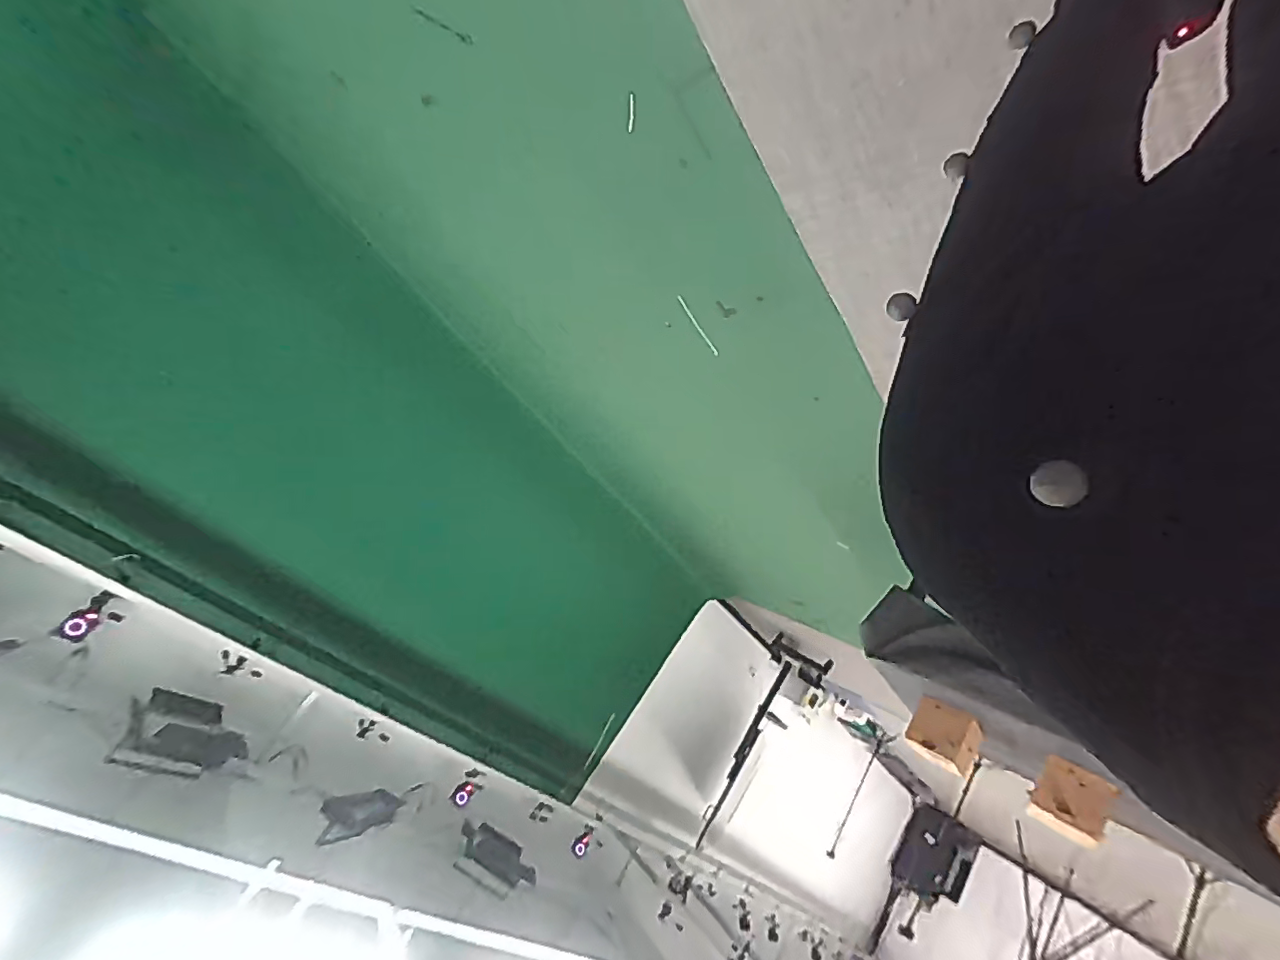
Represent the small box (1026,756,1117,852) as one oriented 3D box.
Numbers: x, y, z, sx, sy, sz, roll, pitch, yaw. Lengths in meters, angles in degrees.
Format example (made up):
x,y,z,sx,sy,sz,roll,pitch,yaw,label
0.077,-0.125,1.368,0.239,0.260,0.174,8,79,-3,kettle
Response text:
x,y,z,sx,sy,sz,roll,pitch,yaw,label
1.275,0.955,1.601,0.168,0.176,0.179,22,157,42,small box
